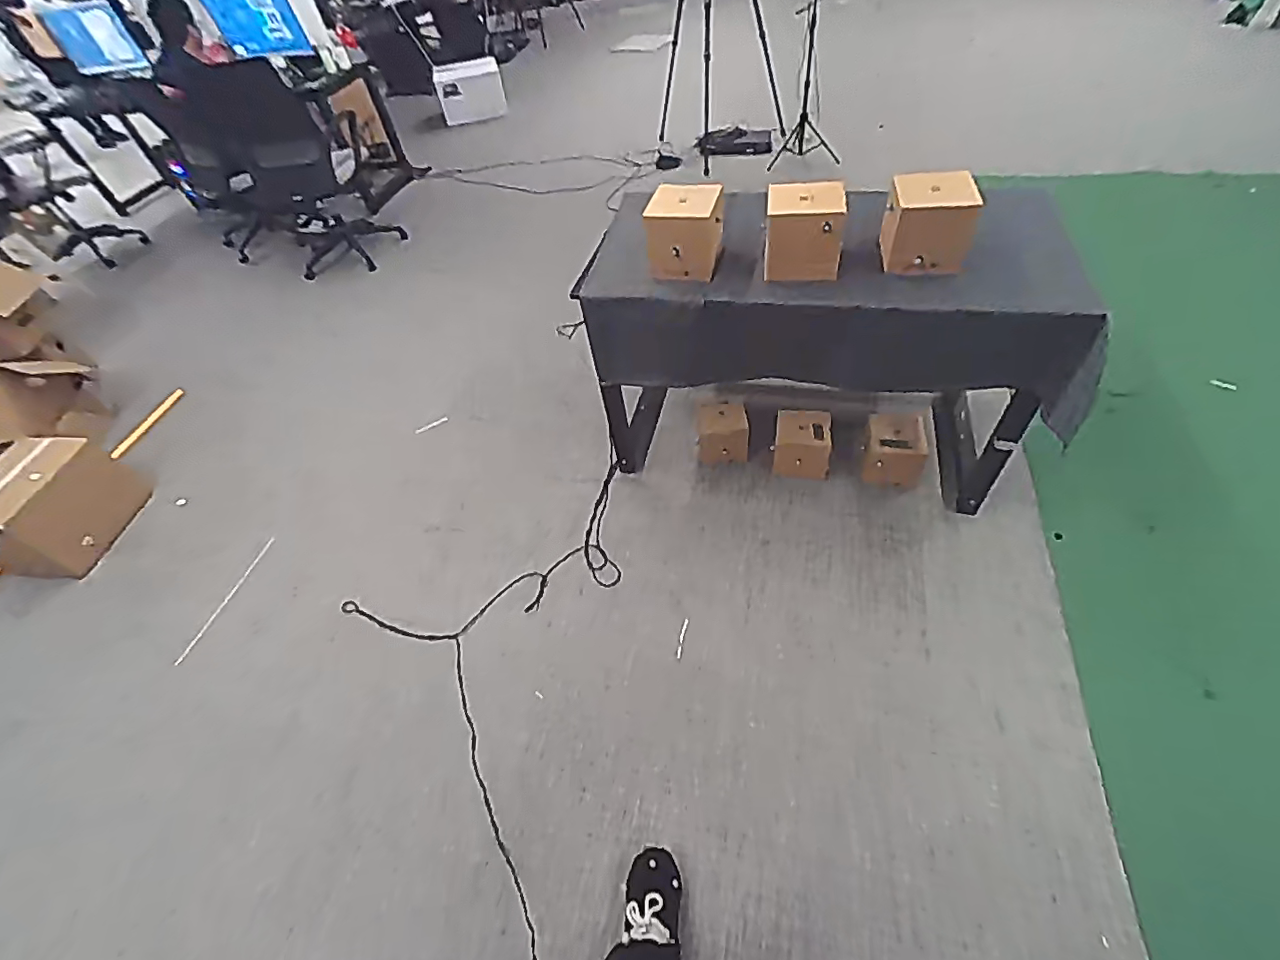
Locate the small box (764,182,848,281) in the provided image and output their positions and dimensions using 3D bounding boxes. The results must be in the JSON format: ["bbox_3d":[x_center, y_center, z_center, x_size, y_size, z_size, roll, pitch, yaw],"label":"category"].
[{"bbox_3d":[0.397,-0.601,1.315,0.179,0.176,0.168,3,51,11],"label":"small box"}]

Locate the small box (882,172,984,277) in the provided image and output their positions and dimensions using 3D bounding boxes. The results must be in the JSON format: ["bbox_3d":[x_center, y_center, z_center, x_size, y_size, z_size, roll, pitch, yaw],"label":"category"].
[{"bbox_3d":[0.676,-0.599,1.271,0.168,0.176,0.179,4,51,13],"label":"small box"}]

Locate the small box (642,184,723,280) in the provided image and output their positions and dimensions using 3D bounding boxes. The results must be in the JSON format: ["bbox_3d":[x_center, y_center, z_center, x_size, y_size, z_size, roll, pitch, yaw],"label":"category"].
[{"bbox_3d":[0.116,-0.629,1.377,0.168,0.176,0.179,9,52,15],"label":"small box"}]

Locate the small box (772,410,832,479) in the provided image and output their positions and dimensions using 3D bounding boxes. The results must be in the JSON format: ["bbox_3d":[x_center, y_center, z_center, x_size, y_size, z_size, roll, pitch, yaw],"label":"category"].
[{"bbox_3d":[0.550,-0.117,1.838,0.179,0.176,0.168,5,51,14],"label":"small box"}]
